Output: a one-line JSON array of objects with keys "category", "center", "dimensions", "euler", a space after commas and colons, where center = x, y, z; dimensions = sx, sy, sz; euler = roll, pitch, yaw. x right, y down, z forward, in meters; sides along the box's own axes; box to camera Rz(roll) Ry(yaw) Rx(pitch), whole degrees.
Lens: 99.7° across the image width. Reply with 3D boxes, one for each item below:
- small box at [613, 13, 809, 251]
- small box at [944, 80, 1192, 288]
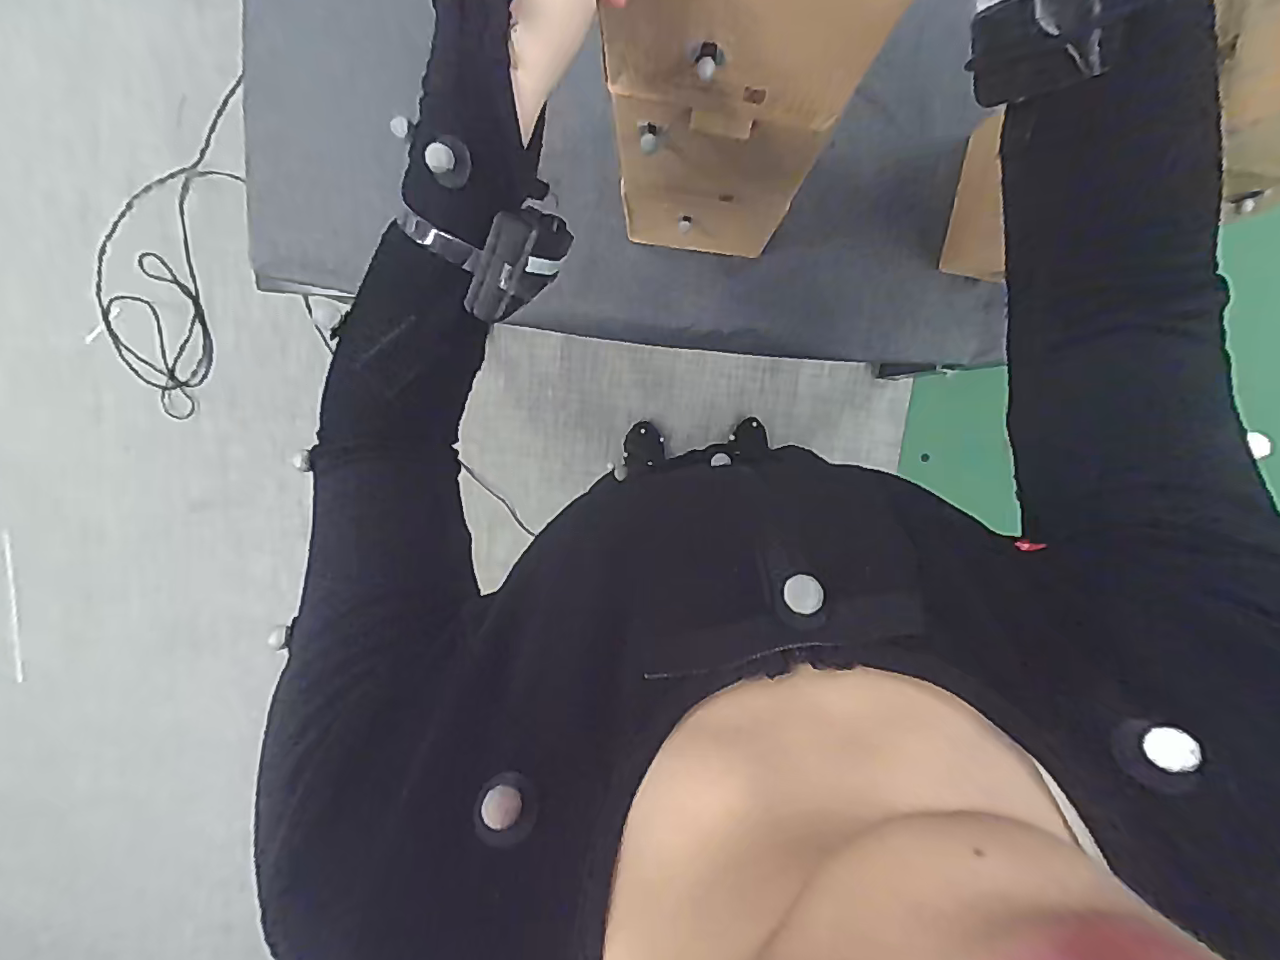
[{"category": "small box", "center": [0.073, -0.376, 0.617], "dimensions": [0.179, 0.176, 0.168], "euler": [8, 97, 2]}, {"category": "small box", "center": [0.475, -0.335, 0.604], "dimensions": [0.168, 0.176, 0.179], "euler": [11, 96, 2]}]
